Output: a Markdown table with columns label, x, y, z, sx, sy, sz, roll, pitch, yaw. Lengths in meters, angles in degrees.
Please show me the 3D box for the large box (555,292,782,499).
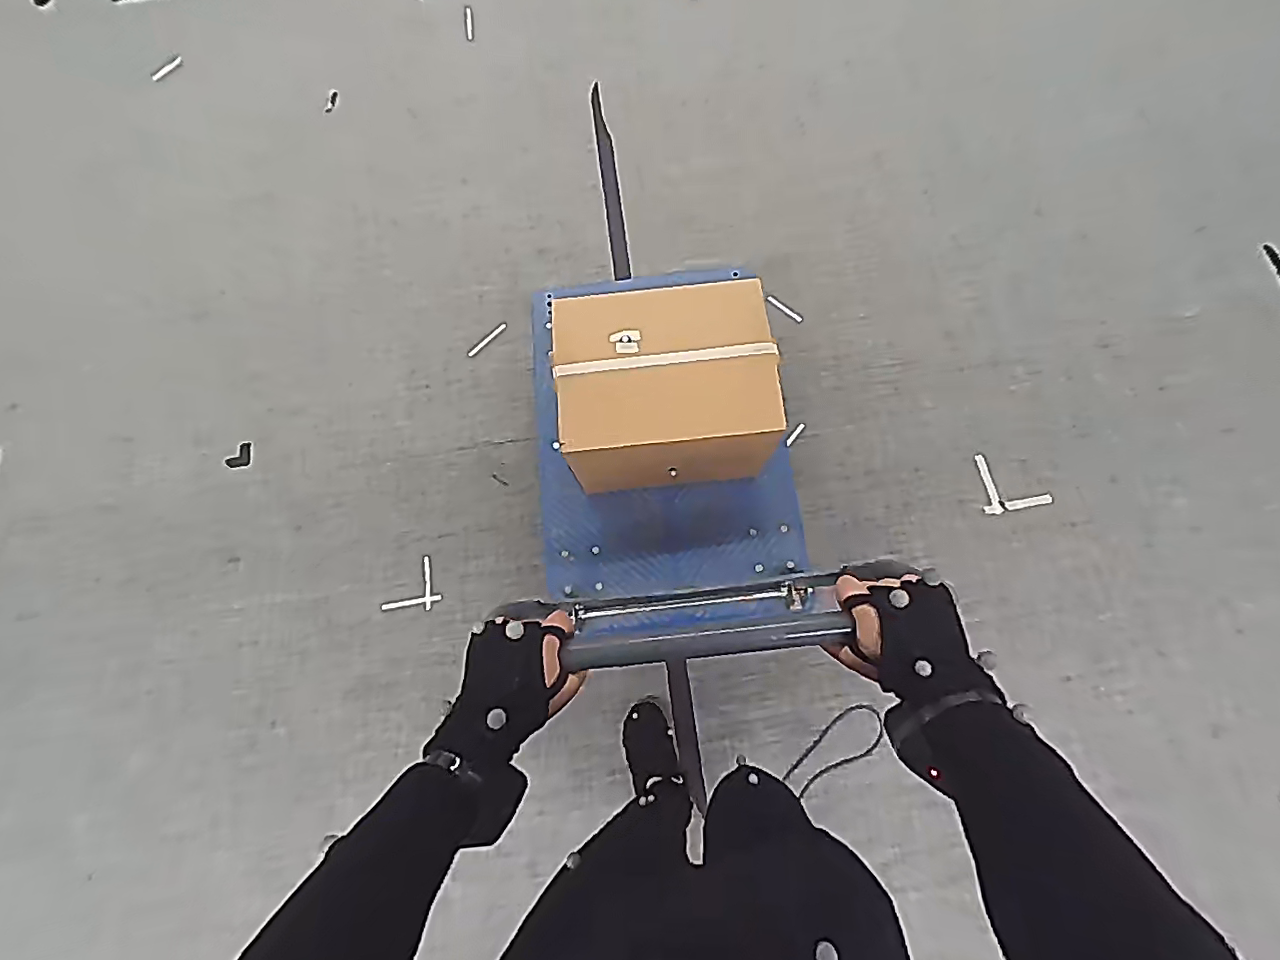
| label | x | y | z | sx | sy | sz | roll | pitch | yaw |
| --- | --- | --- | --- | --- | --- | --- | --- | --- | --- |
| large box | 0.055 | -0.159 | 1.163 | 0.408 | 0.320 | 0.320 | -7 | 73 | 2 |
